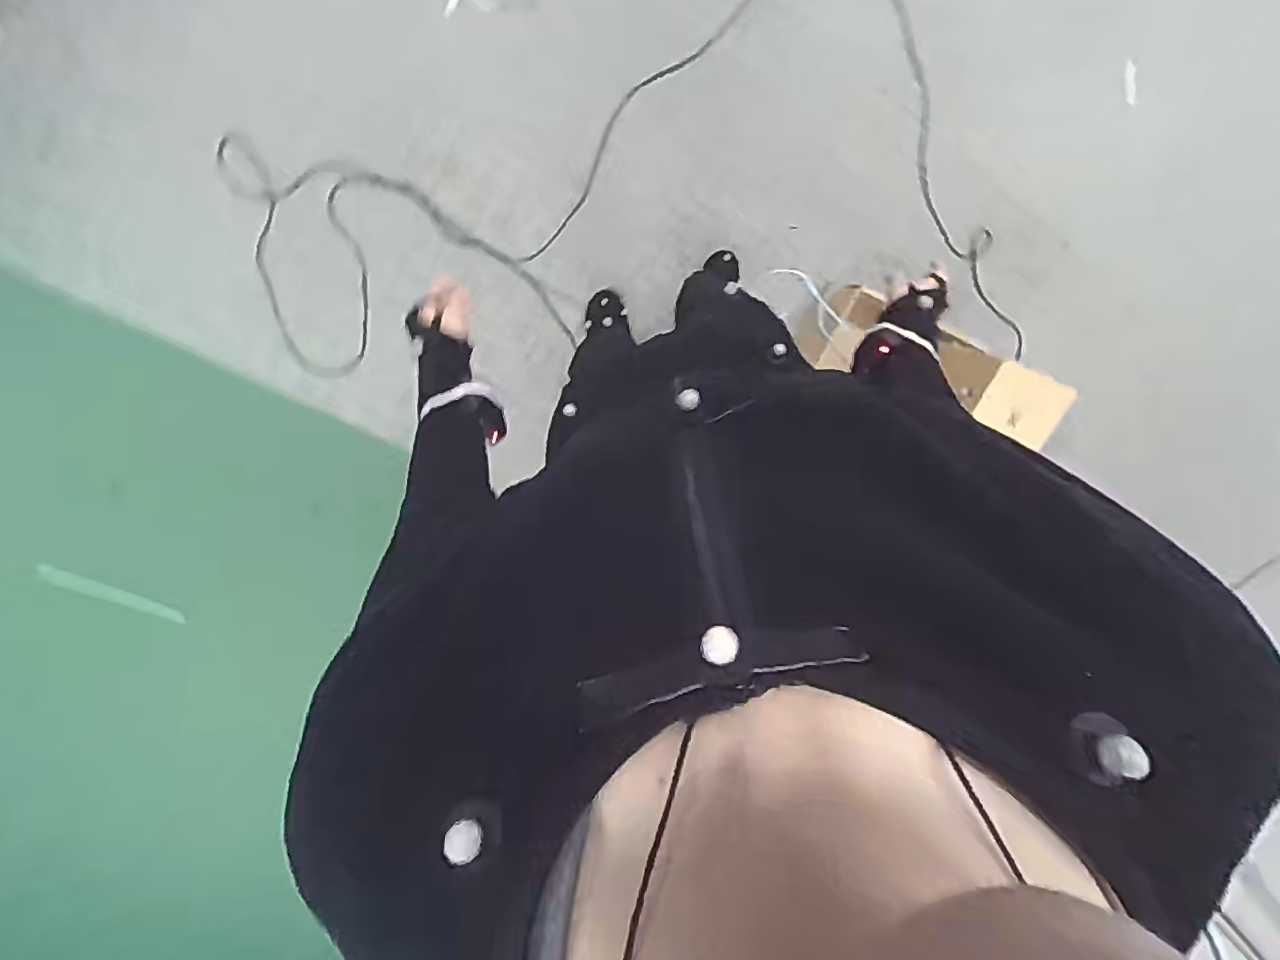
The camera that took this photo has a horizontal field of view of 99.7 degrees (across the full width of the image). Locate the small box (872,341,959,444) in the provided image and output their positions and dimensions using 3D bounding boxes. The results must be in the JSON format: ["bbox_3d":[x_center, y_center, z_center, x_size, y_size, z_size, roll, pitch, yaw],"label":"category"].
[{"bbox_3d":[0.665,-0.198,1.225,0.168,0.176,0.179,24,108,-12],"label":"small box"}]

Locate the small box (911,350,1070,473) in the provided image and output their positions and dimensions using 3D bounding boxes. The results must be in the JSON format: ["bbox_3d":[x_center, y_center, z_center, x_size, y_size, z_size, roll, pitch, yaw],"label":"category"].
[{"bbox_3d":[0.677,-0.141,1.074,0.168,0.176,0.179,19,107,-10],"label":"small box"}]
